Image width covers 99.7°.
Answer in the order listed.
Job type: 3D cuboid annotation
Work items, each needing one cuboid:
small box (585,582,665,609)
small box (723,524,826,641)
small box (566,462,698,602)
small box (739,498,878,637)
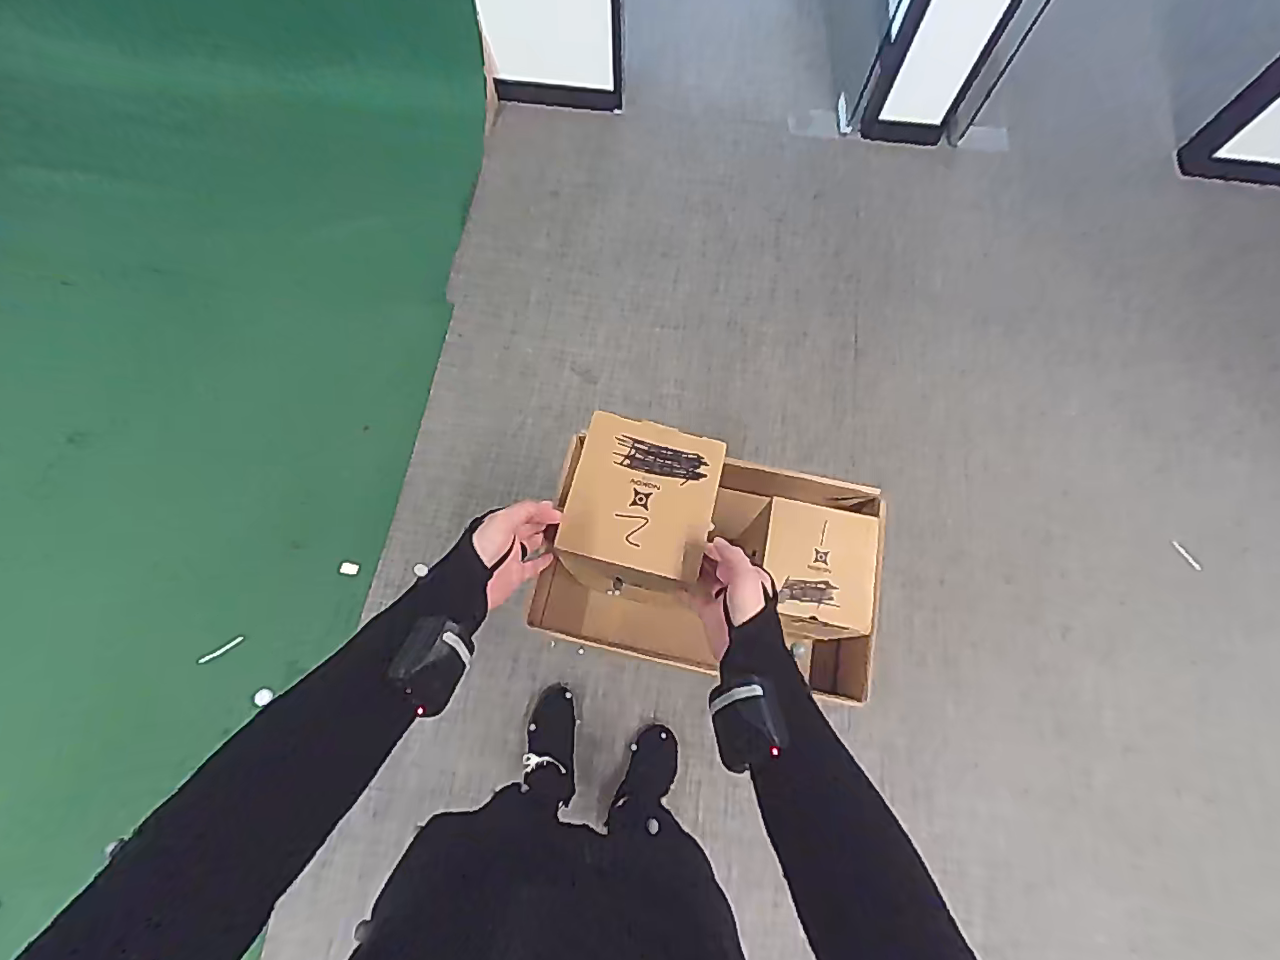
[{"bbox_3d":[-0.012,0.137,1.041,0.168,0.176,0.179,14,72,5],"label":"small box"},{"bbox_3d":[0.258,0.201,1.025,0.168,0.176,0.179,12,72,4],"label":"small box"},{"bbox_3d":[-0.010,0.094,0.883,0.168,0.176,0.179,14,73,3],"label":"small box"},{"bbox_3d":[0.261,0.148,0.869,0.168,0.176,0.179,12,71,3],"label":"small box"}]
